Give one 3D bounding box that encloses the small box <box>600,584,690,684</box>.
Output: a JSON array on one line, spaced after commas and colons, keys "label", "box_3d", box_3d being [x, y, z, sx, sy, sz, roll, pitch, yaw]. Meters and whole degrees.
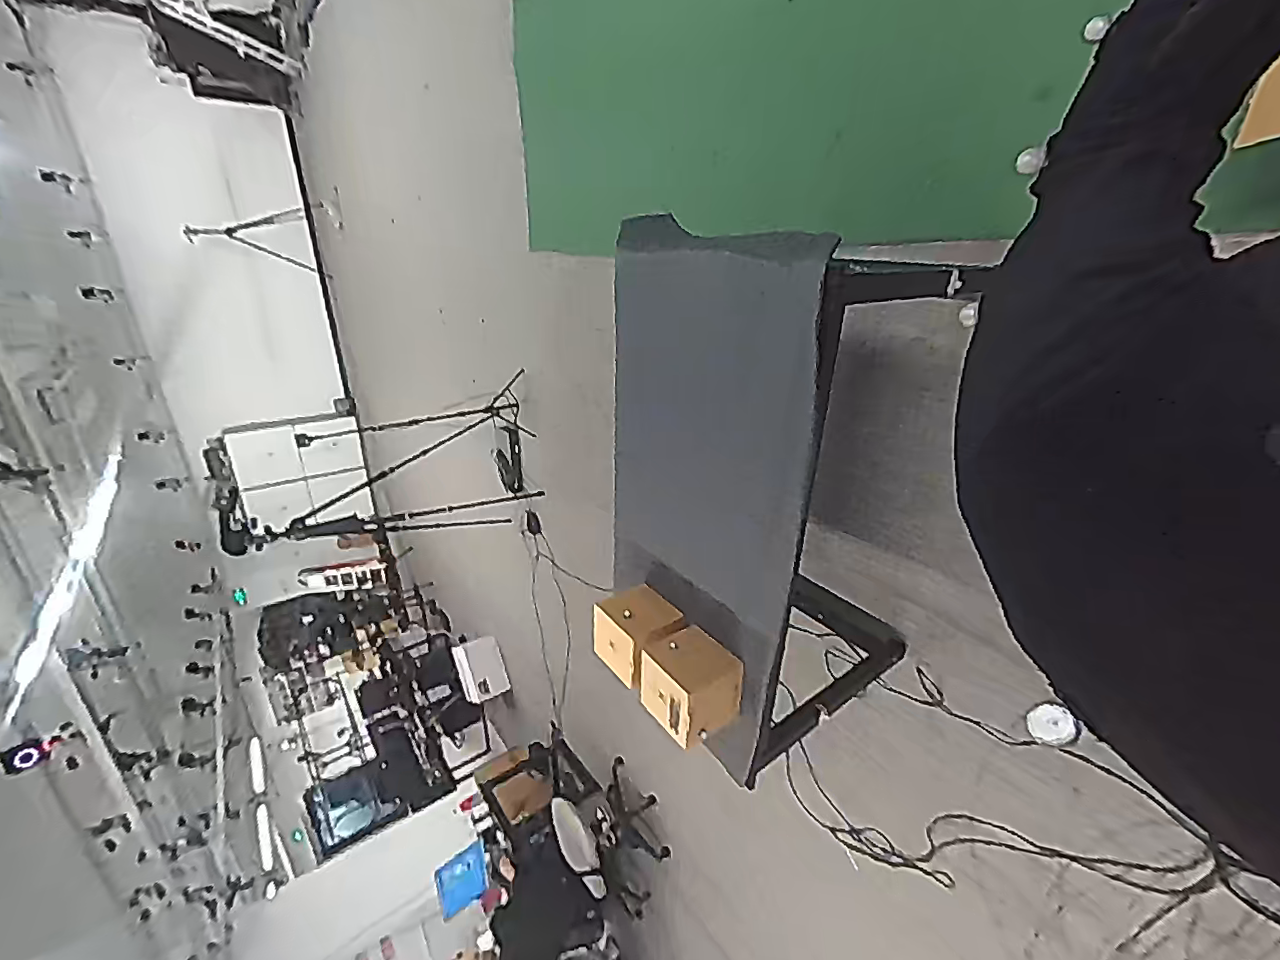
[{"label": "small box", "box_3d": [0.009, 0.397, 1.437, 0.179, 0.176, 0.168, 30, 127, 45]}]
